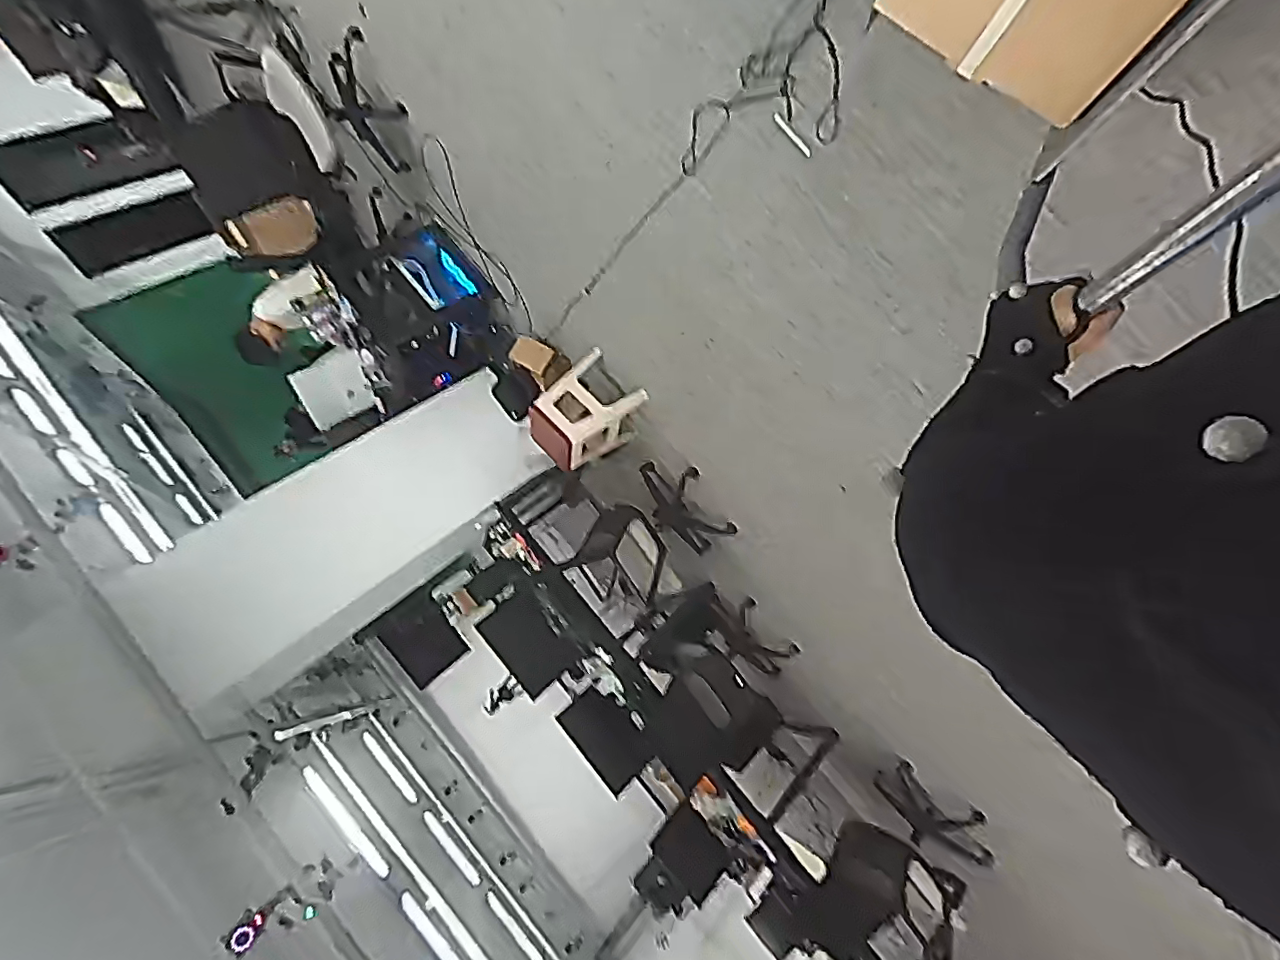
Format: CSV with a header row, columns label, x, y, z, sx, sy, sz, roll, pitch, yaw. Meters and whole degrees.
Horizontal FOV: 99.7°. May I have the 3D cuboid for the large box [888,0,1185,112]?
label,x,y,z,sx,sy,sz,roll,pitch,yaw
large box,0.576,-0.750,0.613,0.320,0.320,0.408,37,154,5
